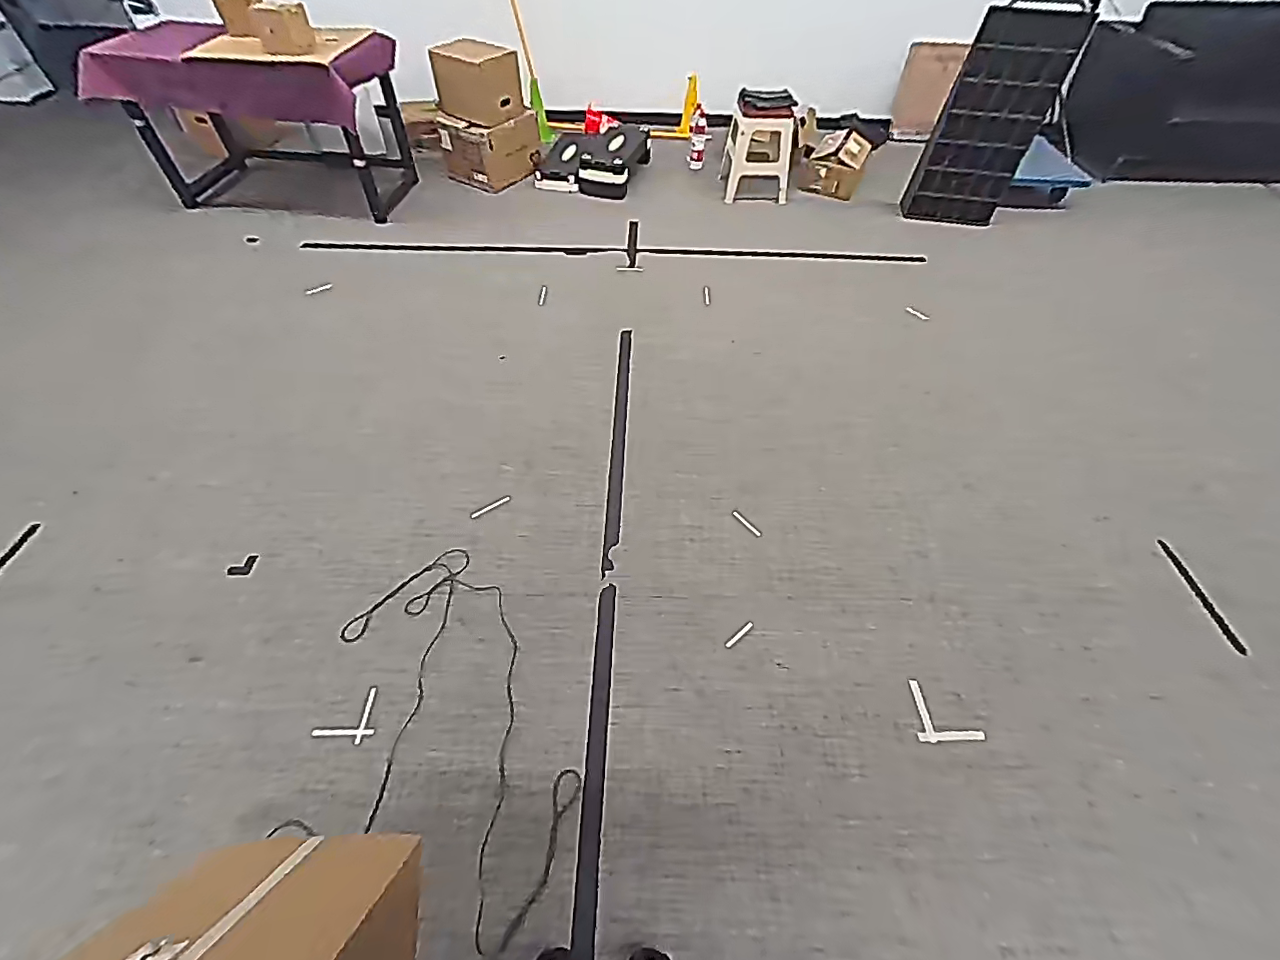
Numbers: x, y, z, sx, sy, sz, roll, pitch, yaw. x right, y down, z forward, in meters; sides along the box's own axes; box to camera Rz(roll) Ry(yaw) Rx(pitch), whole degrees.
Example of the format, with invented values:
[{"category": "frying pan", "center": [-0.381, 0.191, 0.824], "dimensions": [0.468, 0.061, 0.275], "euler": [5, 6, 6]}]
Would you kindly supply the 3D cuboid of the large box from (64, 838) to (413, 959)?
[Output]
[{"category": "large box", "center": [-0.504, 0.698, 0.646], "dimensions": [0.320, 0.408, 0.320], "euler": [0, 82, -3]}]
